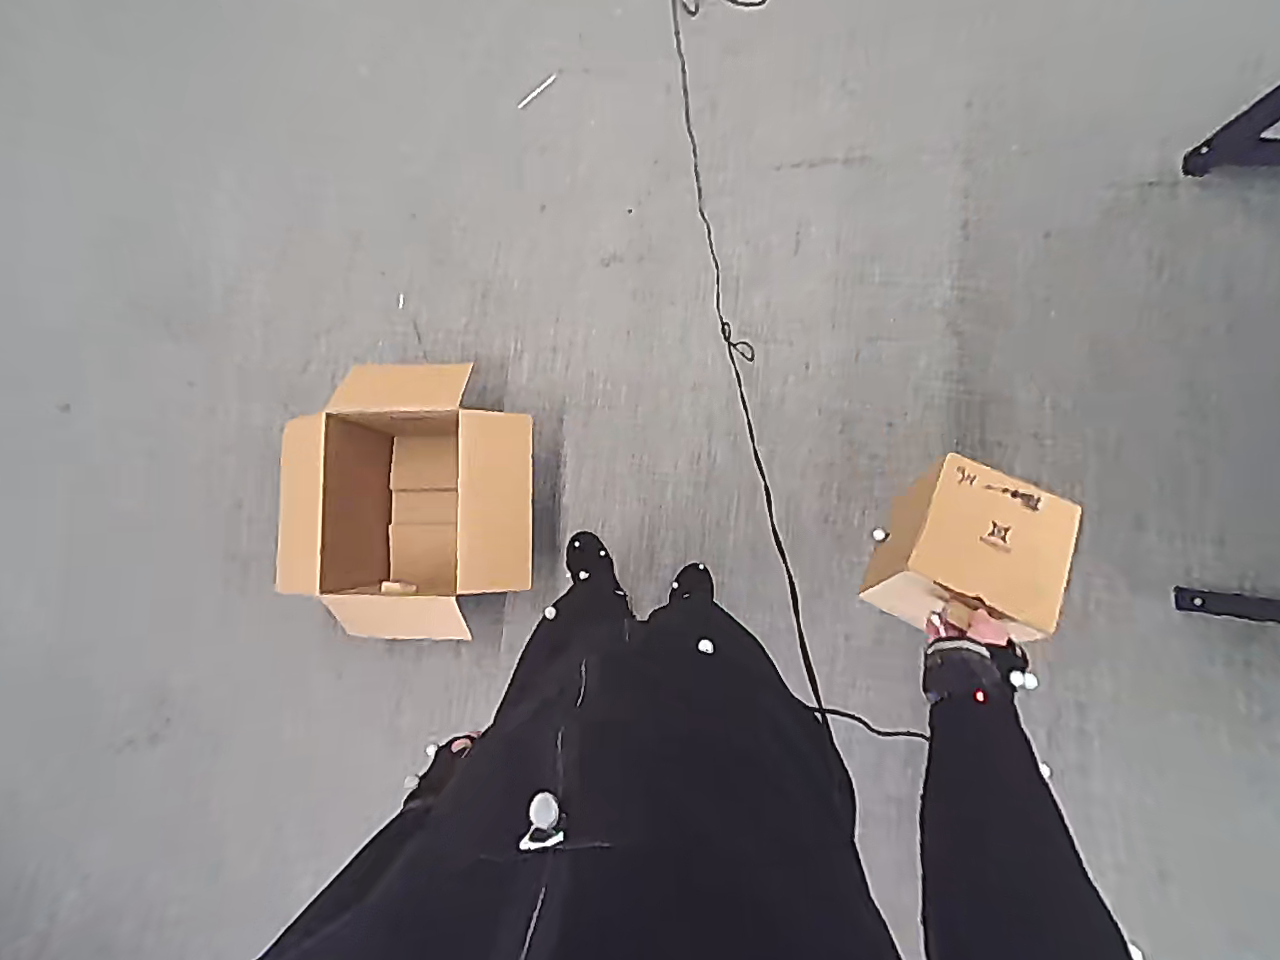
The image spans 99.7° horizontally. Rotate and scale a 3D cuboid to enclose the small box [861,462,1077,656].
[{"bbox_3d":[0.417,0.113,0.716,0.168,0.176,0.179,28,69,12],"label":"small box"}]
